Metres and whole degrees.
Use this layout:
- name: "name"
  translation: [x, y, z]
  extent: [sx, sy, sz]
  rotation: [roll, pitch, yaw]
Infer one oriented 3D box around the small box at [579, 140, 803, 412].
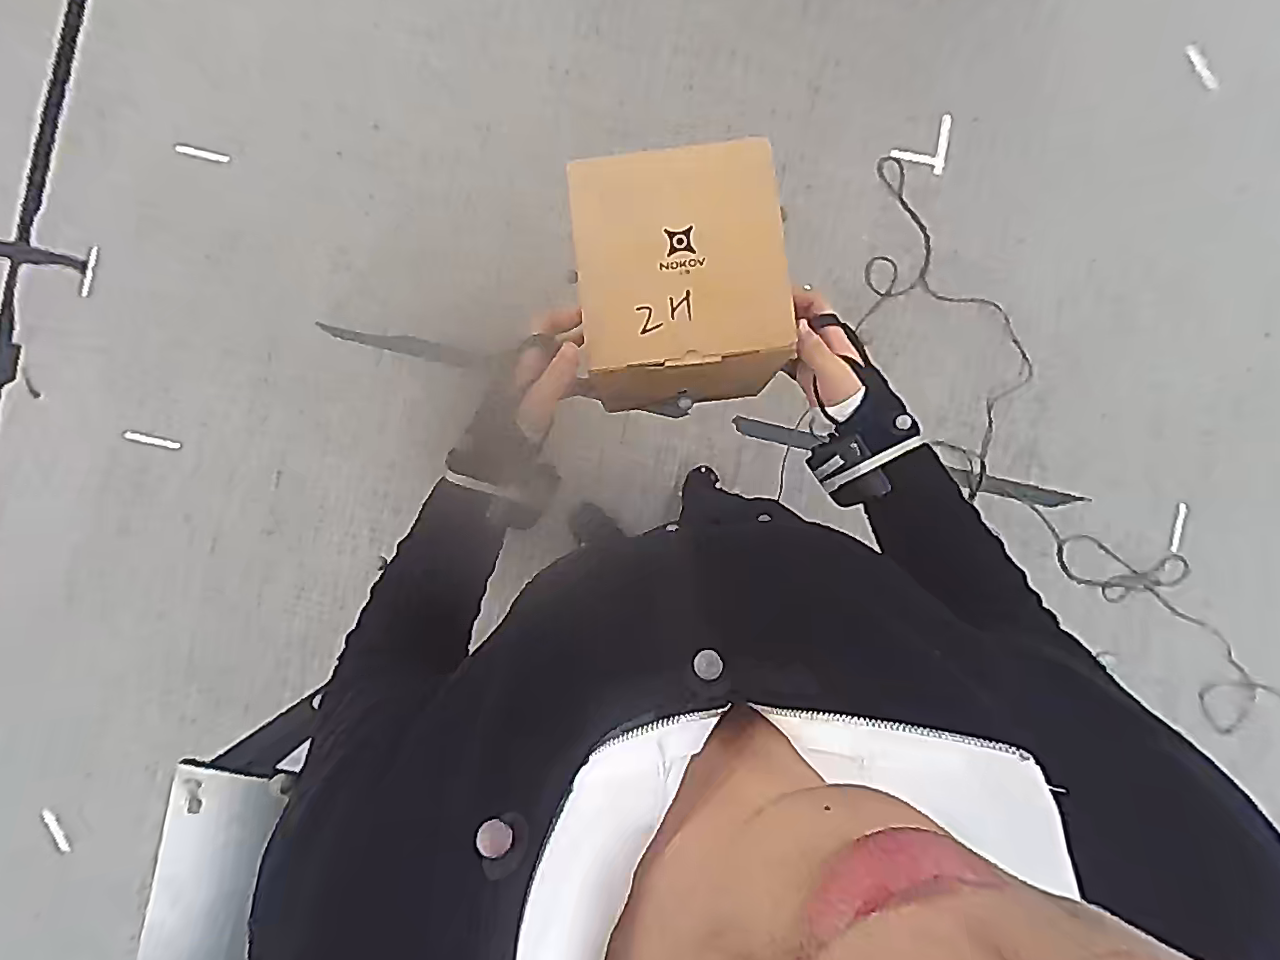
- name: "small box"
  translation: [0.040, -0.171, 0.502]
  extent: [0.168, 0.176, 0.179]
  rotation: [-6, 86, 2]
